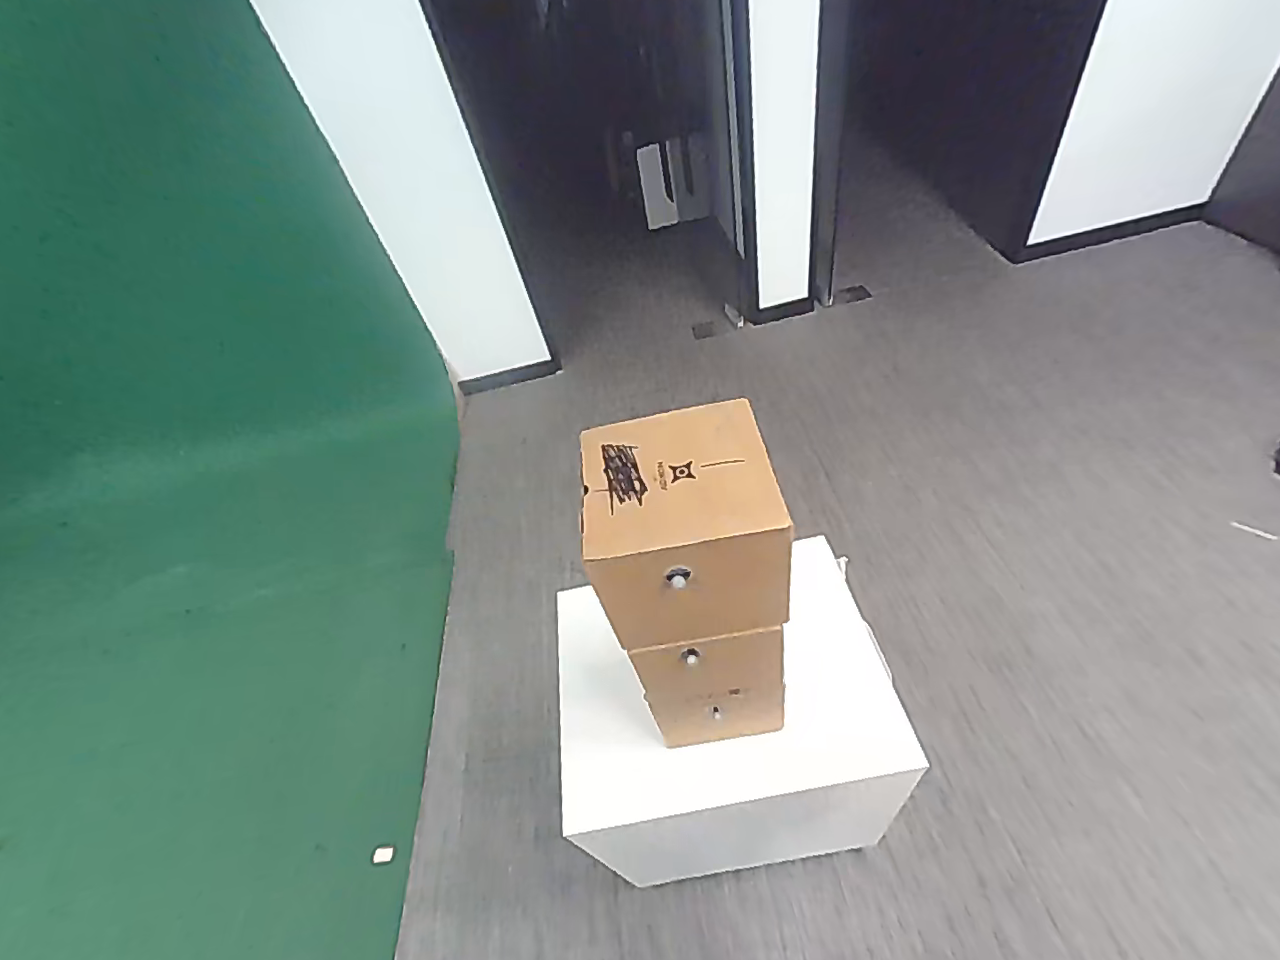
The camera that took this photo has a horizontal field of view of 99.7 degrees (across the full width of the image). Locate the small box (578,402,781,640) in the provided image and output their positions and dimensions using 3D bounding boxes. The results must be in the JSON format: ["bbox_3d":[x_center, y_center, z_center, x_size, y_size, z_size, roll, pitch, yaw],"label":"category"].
[{"bbox_3d":[0.043,0.048,0.560,0.179,0.176,0.168,-10,47,5],"label":"small box"}]

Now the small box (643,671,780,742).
[{"bbox_3d":[0.101,0.268,0.797,0.179,0.176,0.168,-11,47,3],"label":"small box"}]

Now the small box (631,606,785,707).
[{"bbox_3d":[0.075,0.159,0.681,0.168,0.176,0.179,-12,47,2],"label":"small box"}]
